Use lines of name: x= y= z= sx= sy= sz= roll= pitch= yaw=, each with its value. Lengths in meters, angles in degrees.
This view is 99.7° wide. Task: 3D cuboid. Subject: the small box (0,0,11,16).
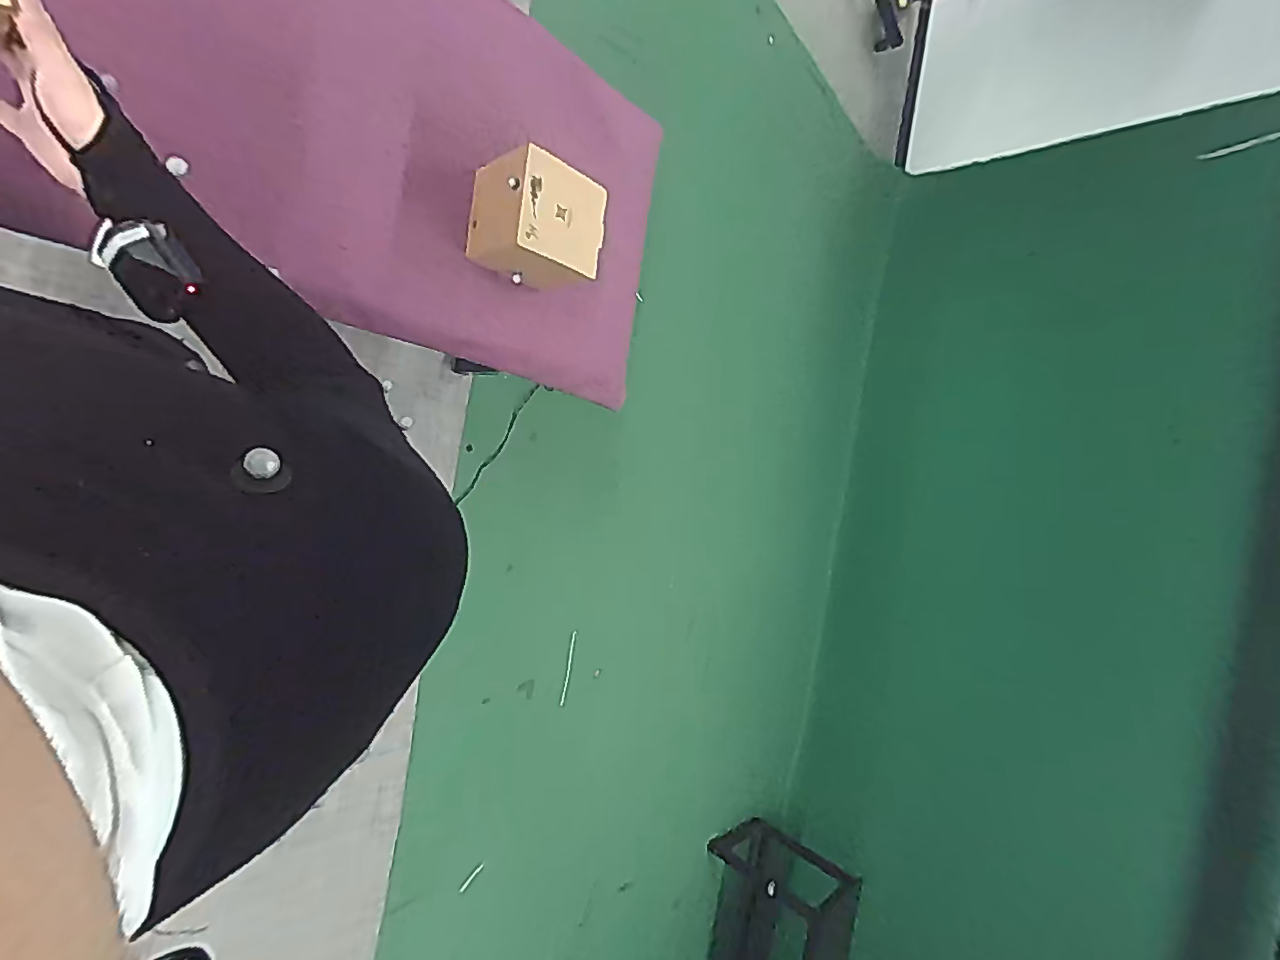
small box: x=-0.529 y=-0.406 z=0.323 sx=0.179 sy=0.176 sz=0.168 roll=-13 pitch=117 yaw=-46

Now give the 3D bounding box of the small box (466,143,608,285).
small box: x=-0.187 y=-0.467 z=0.983 sx=0.179 sy=0.176 sz=0.168 roll=7 pitch=92 yaw=-47
